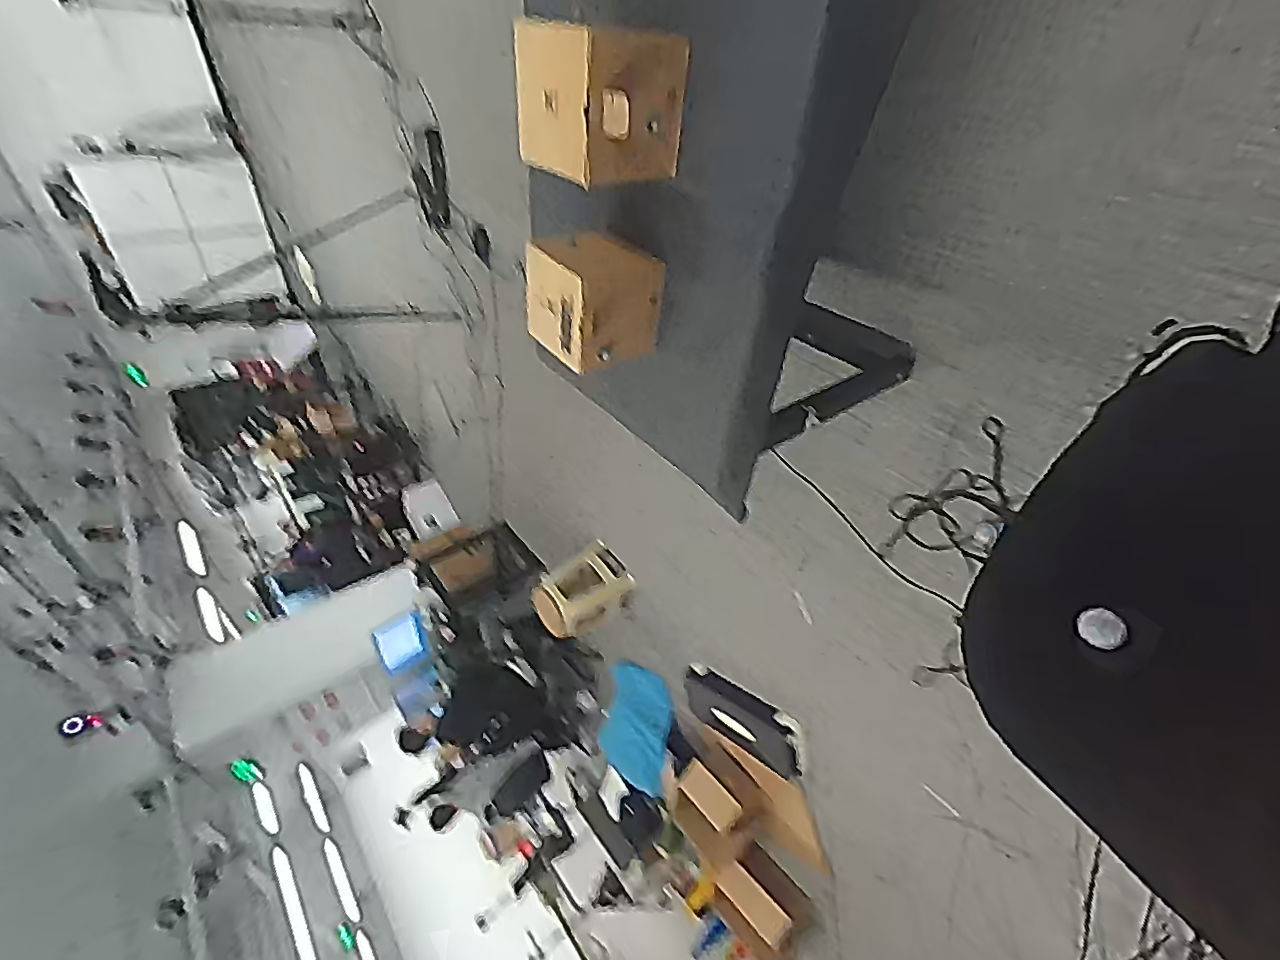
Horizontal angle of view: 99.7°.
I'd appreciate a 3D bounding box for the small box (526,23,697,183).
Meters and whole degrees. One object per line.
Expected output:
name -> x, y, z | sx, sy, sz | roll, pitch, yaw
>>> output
small box -> -0.045, -0.539, 0.778 | 0.179, 0.176, 0.168 | 40, 140, 35
